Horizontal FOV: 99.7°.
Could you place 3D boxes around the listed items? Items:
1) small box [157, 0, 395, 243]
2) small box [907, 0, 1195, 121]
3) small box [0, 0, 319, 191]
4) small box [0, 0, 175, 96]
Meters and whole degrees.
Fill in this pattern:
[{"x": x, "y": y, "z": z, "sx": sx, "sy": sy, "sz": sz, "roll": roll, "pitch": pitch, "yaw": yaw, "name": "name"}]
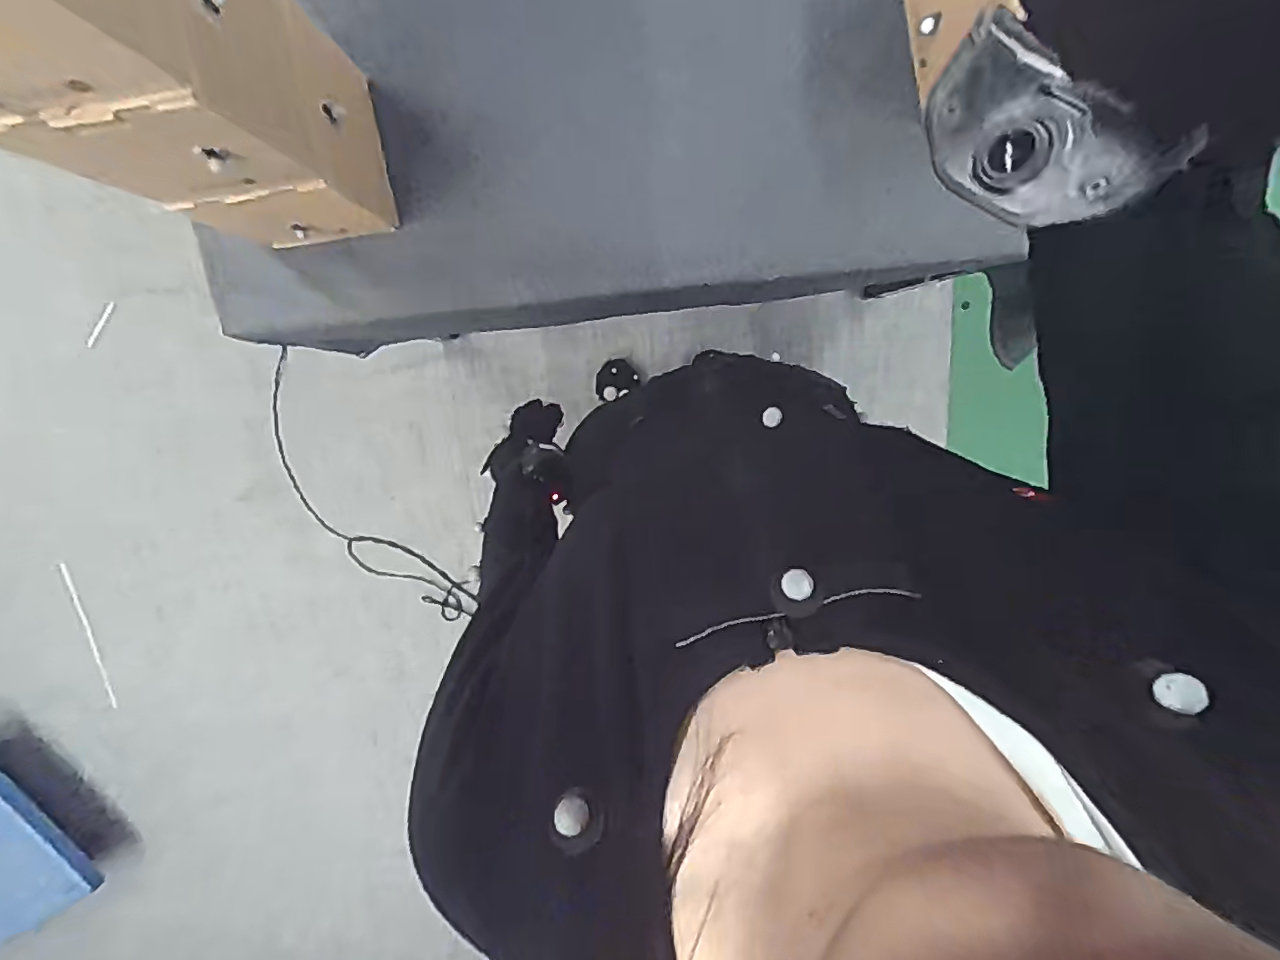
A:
[{"x": -0.393, "y": -0.376, "z": 0.584, "sx": 0.168, "sy": 0.176, "sz": 0.179, "roll": -8, "pitch": 102, "yaw": 1, "name": "small box"}, {"x": 0.410, "y": -0.514, "z": 0.559, "sx": 0.179, "sy": 0.176, "sz": 0.168, "roll": -15, "pitch": 101, "yaw": 3, "name": "small box"}, {"x": -0.389, "y": -0.346, "z": 0.424, "sx": 0.168, "sy": 0.176, "sz": 0.179, "roll": -7, "pitch": 102, "yaw": 0, "name": "small box"}, {"x": -0.387, "y": -0.319, "z": 0.263, "sx": 0.168, "sy": 0.176, "sz": 0.179, "roll": -9, "pitch": 102, "yaw": 0, "name": "small box"}]
